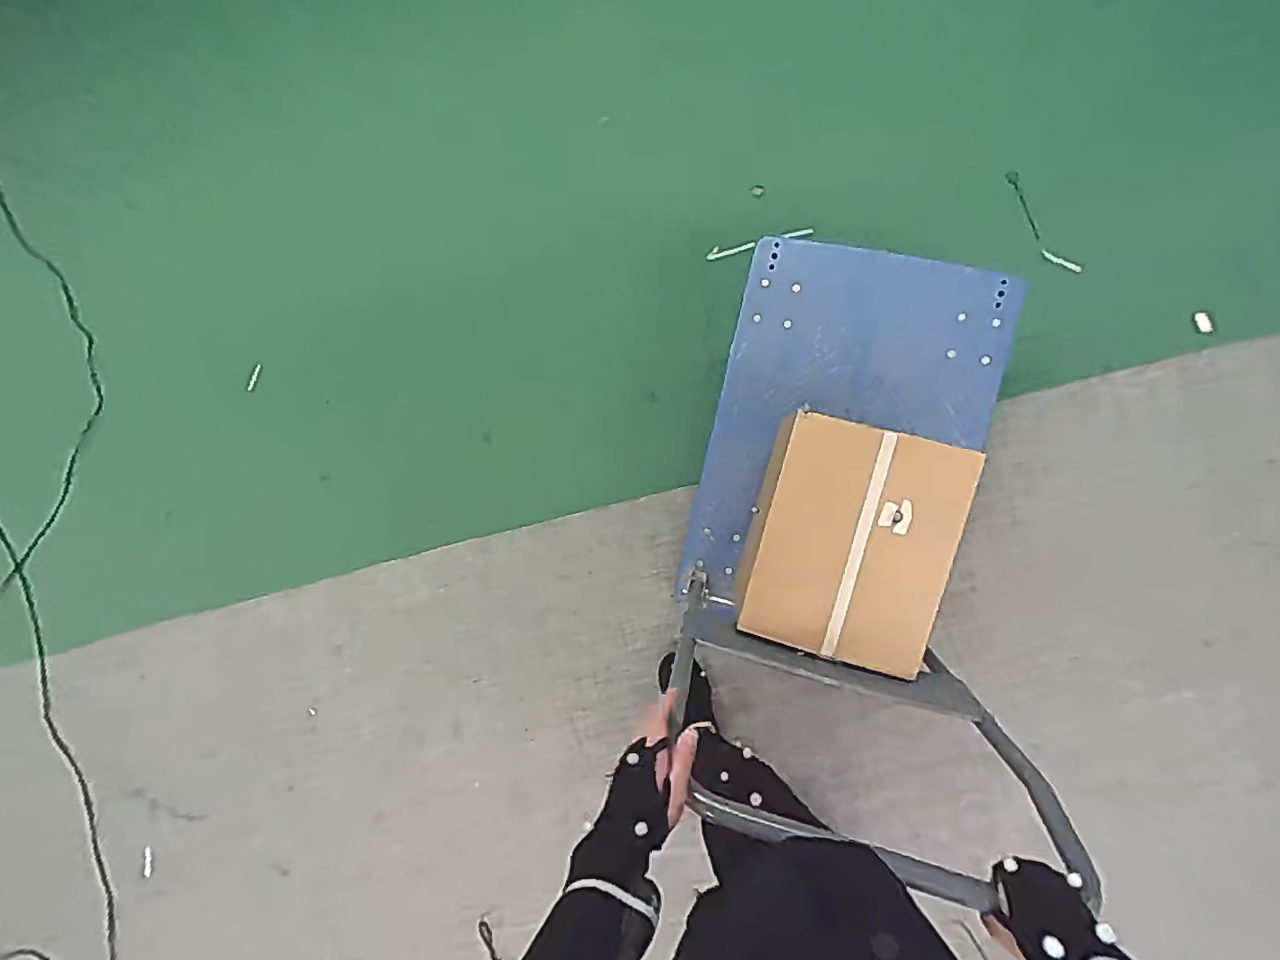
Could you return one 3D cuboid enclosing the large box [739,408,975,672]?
[{"bbox_3d":[0.390,0.099,1.075,0.320,0.320,0.408,14,94,8],"label":"large box"}]
